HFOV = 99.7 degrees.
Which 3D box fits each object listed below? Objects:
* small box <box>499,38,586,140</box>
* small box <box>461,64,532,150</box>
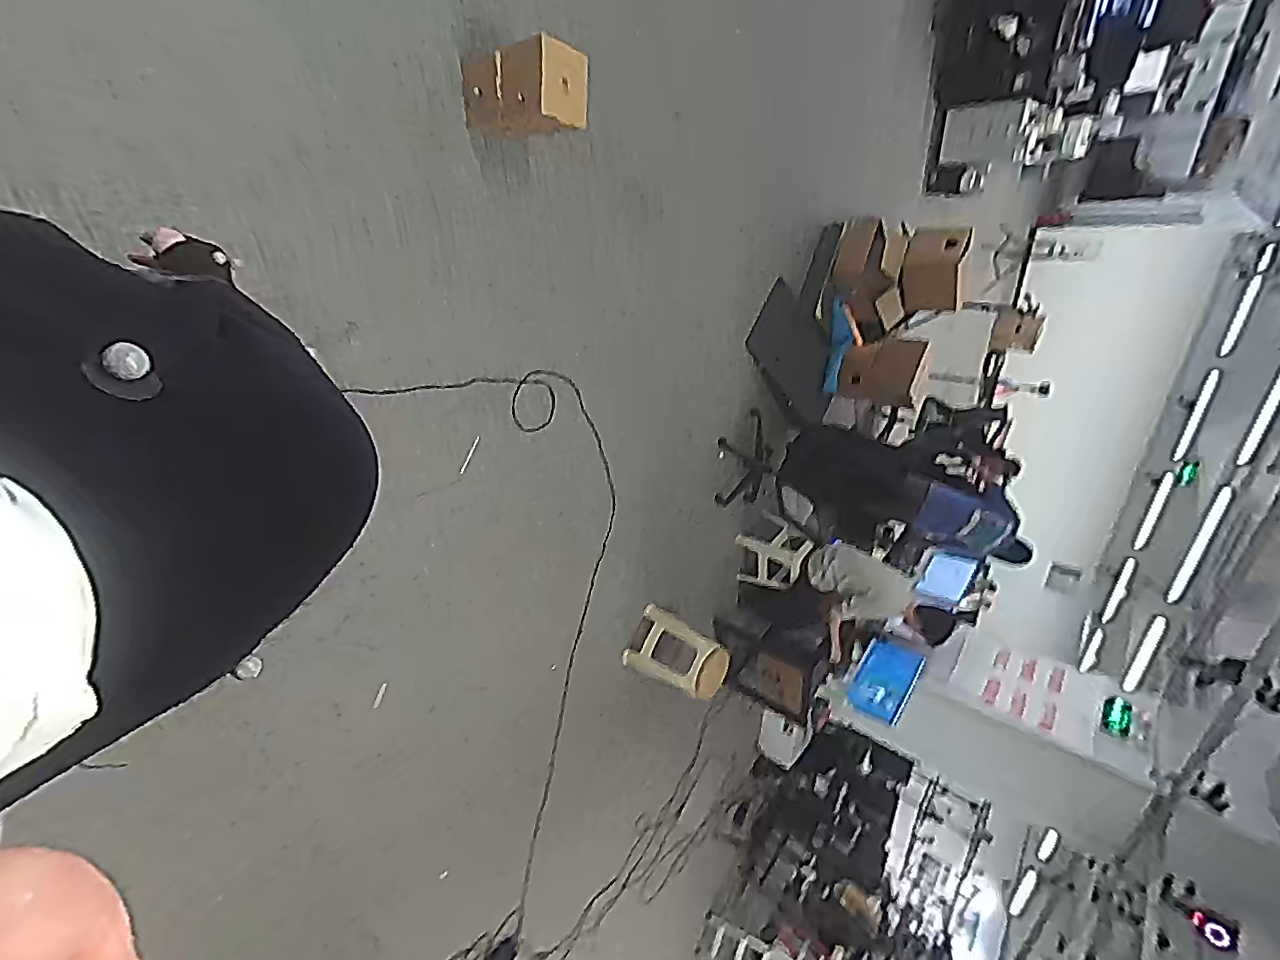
[{"bbox_3d":[-0.267,-1.048,1.470,0.168,0.176,0.179,-18,117,-49],"label":"small box"},{"bbox_3d":[-0.381,-1.092,1.566,0.168,0.176,0.179,-53,138,-26],"label":"small box"}]
